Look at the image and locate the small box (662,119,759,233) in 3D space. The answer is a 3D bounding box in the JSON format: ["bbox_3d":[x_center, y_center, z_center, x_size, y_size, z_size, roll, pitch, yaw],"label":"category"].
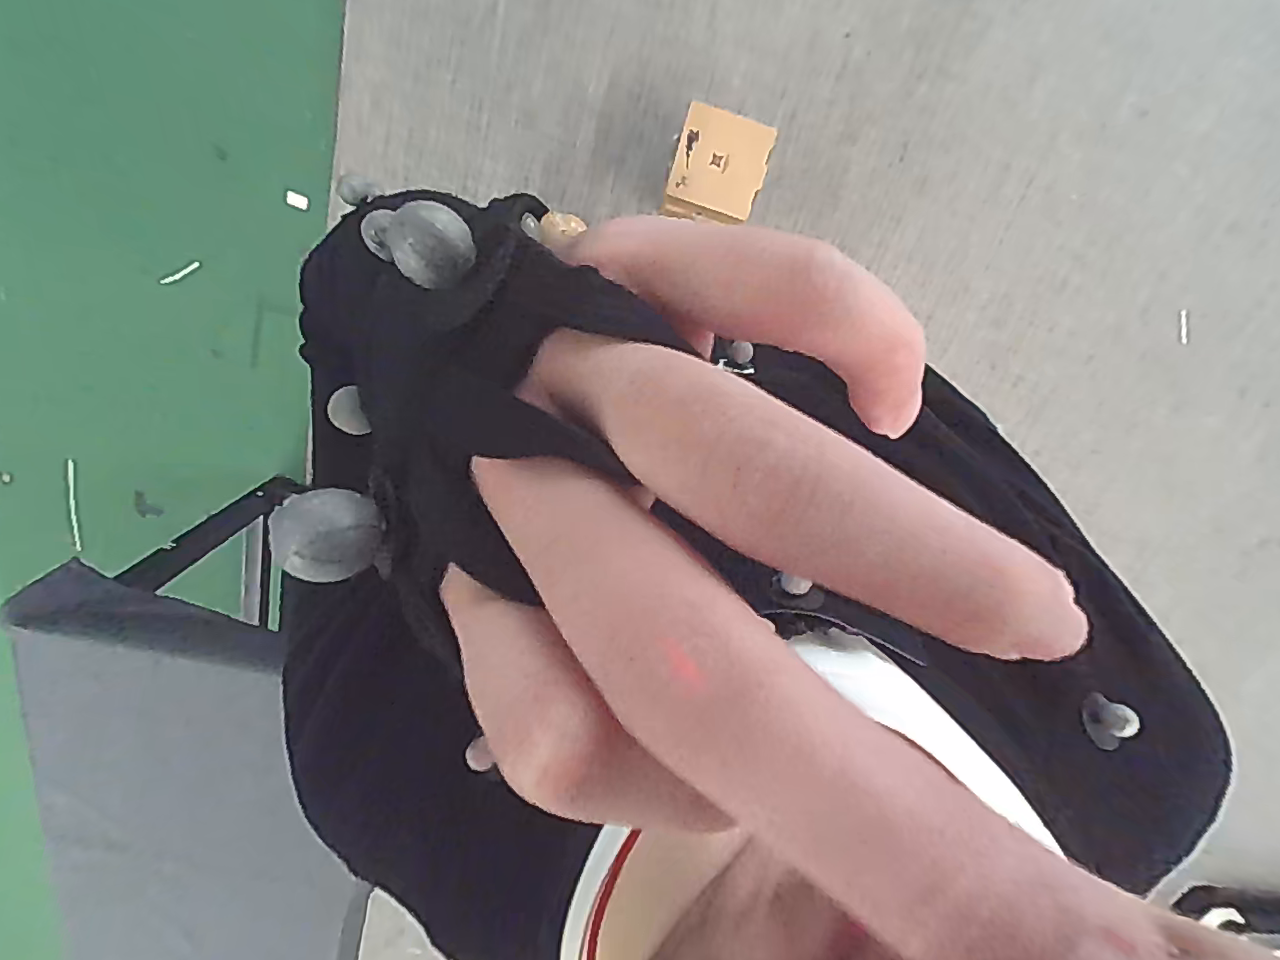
[{"bbox_3d":[0.153,-0.695,1.256,0.168,0.176,0.179,18,111,-7],"label":"small box"}]
